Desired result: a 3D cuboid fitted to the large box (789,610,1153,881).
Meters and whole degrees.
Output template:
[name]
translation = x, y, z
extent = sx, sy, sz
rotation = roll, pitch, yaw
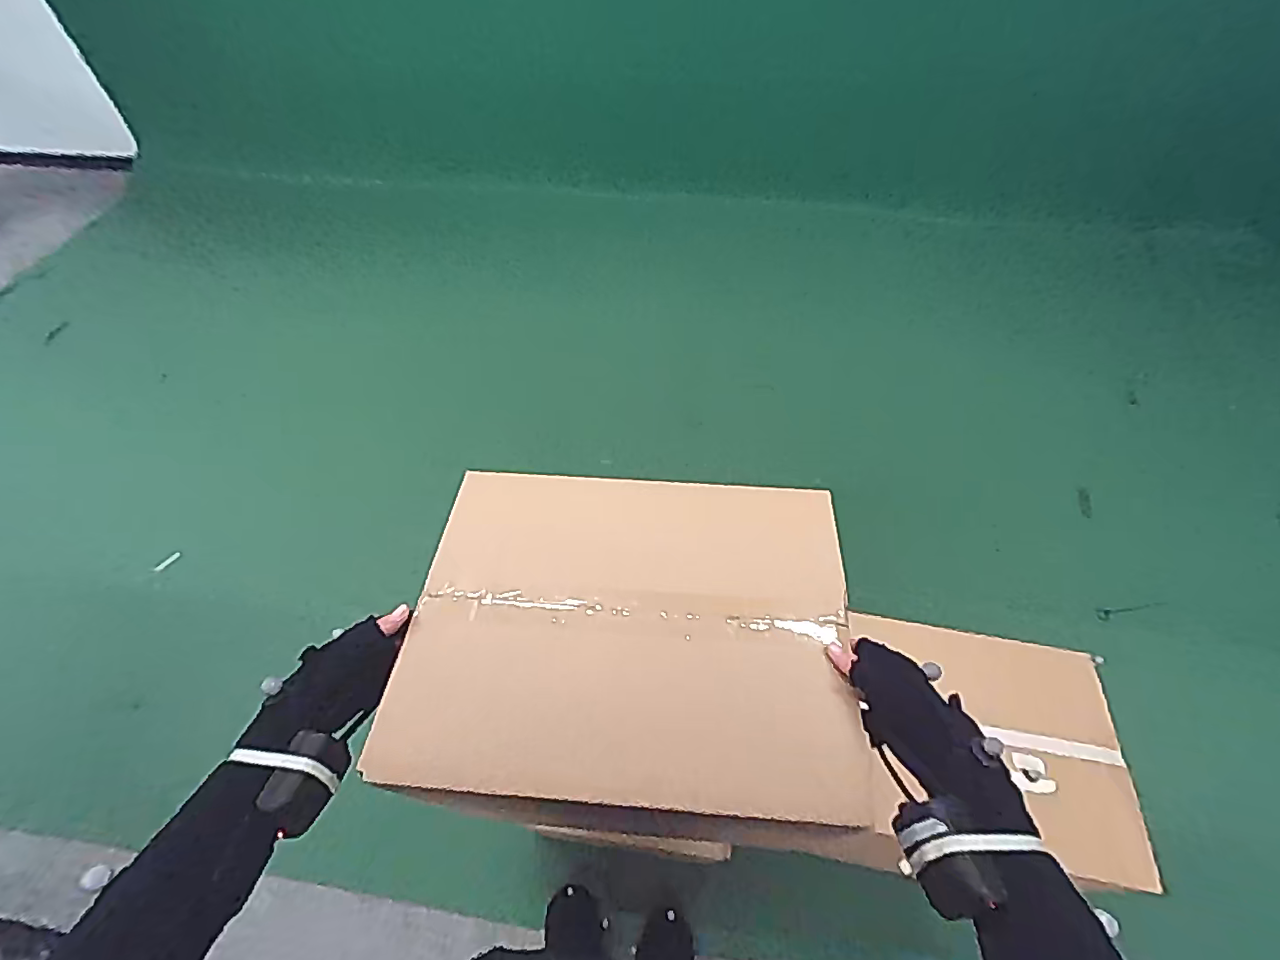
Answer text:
[large box]
translation = 0.485, 0.450, 0.913
extent = 0.408, 0.320, 0.320
rotation = 9, 55, 6
